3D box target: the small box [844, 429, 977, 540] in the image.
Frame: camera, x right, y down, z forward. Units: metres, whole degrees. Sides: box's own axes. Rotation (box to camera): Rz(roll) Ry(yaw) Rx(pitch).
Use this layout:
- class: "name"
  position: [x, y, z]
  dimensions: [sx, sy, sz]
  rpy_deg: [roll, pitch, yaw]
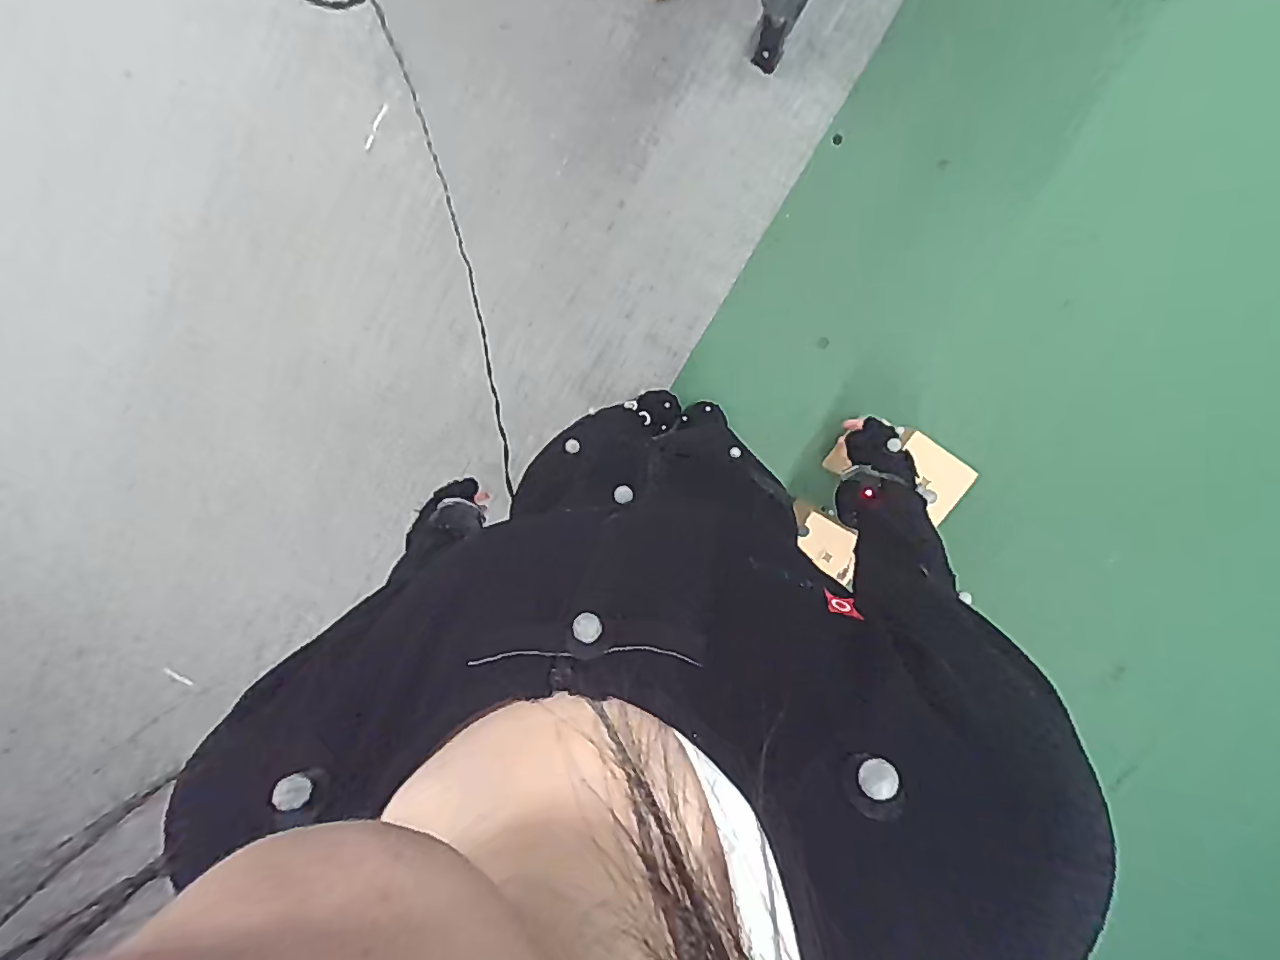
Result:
- class: "small box"
  position: [0.588, 0.000, 1.204]
  dimensions: [0.168, 0.176, 0.179]
  rpy_deg: [35, 100, -3]

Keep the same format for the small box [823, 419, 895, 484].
- class: "small box"
  position: [0.594, -0.040, 1.364]
  dimensions: [0.179, 0.176, 0.168]
  rpy_deg: [36, 100, -3]

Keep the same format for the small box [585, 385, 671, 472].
- class: "small box"
  position: [-0.026, -0.135, 1.395]
  dimensions: [0.168, 0.176, 0.179]
  rpy_deg: [9, 76, 16]
